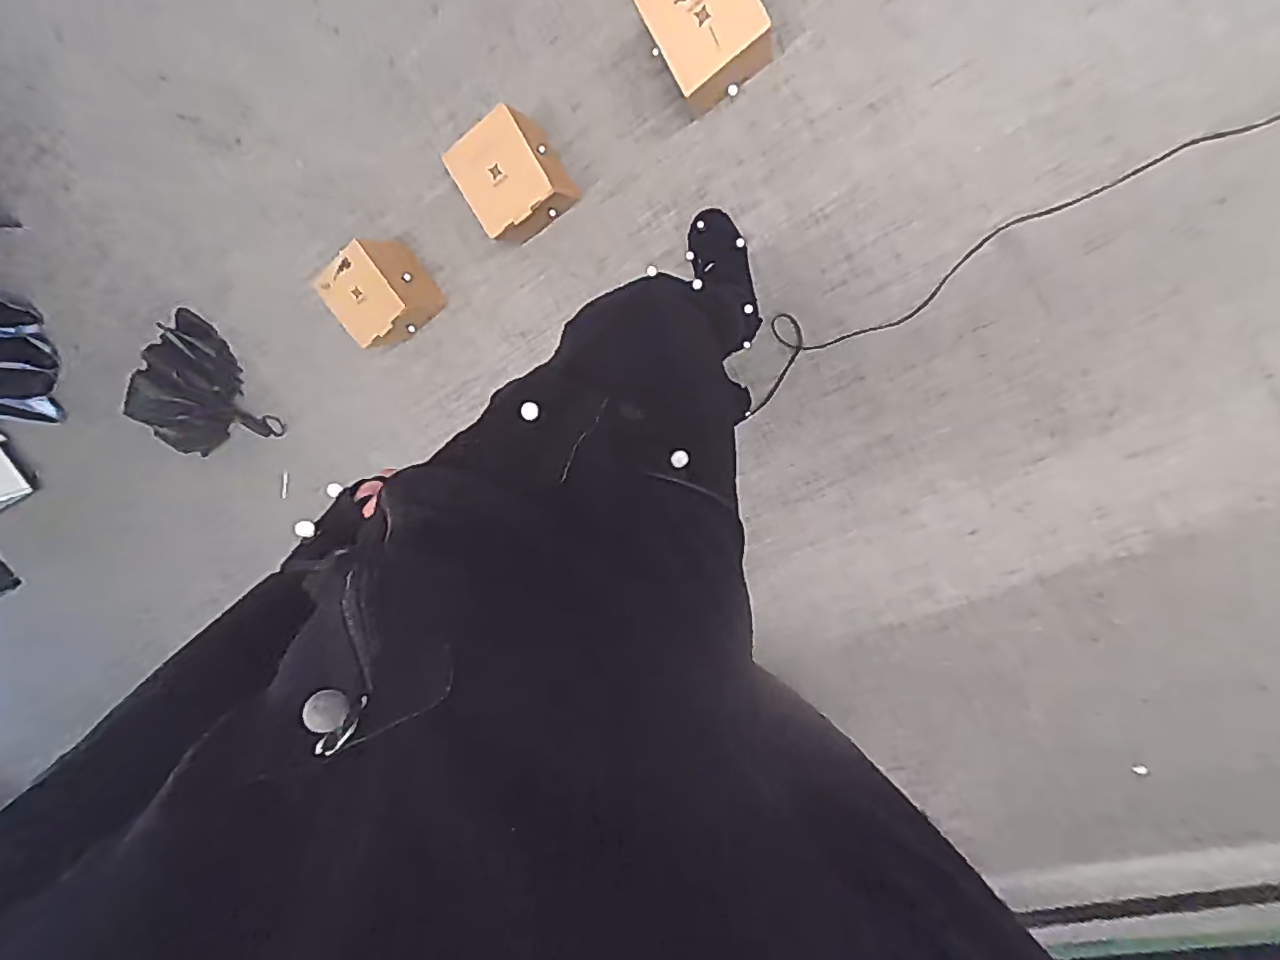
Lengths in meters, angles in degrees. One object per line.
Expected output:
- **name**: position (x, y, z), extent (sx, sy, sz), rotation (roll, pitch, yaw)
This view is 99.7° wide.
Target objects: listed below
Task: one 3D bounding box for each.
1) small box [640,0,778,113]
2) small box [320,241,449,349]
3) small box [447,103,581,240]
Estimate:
- **small box**: position (0.124, -0.782, 0.934), extent (0.168, 0.176, 0.179), rotation (-28, 103, 24)
- **small box**: position (-0.587, -0.437, 1.266), extent (0.168, 0.176, 0.179), rotation (-31, 102, 23)
- **small box**: position (-0.246, -0.615, 1.105), extent (0.168, 0.176, 0.179), rotation (-27, 102, 22)
